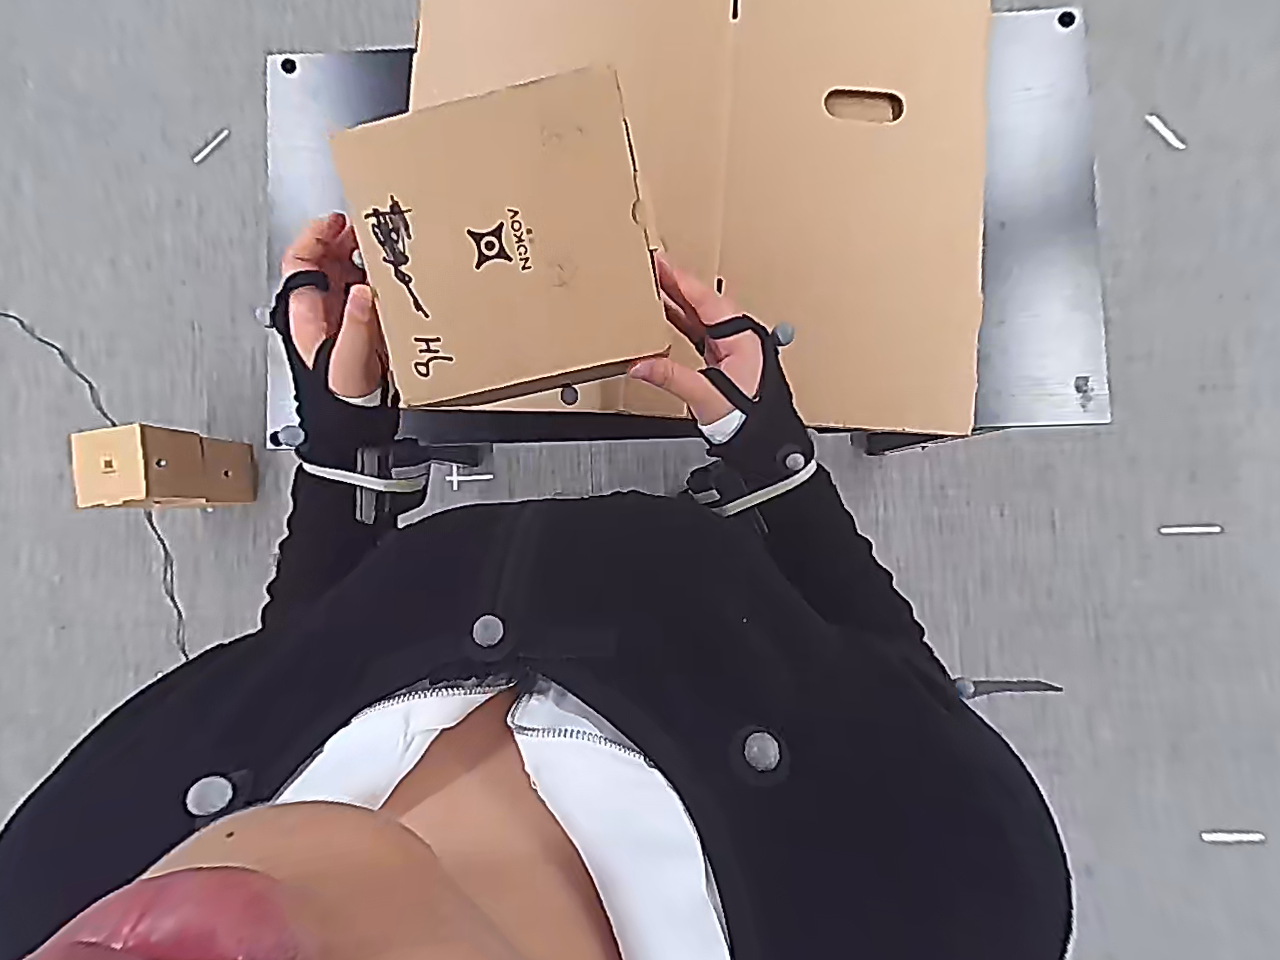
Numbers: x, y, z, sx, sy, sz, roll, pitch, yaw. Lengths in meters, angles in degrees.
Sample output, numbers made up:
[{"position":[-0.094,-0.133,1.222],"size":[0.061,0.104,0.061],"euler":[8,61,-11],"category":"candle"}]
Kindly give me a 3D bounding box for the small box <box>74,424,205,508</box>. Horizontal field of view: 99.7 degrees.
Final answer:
[{"position":[-1.202,-0.030,1.312],"size":[0.168,0.176,0.179],"euler":[-8,87,1],"category":"small box"}]

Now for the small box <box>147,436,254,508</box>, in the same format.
[{"position":[-1.195,-0.017,1.474],"size":[0.168,0.176,0.179],"euler":[-6,88,2],"category":"small box"}]
